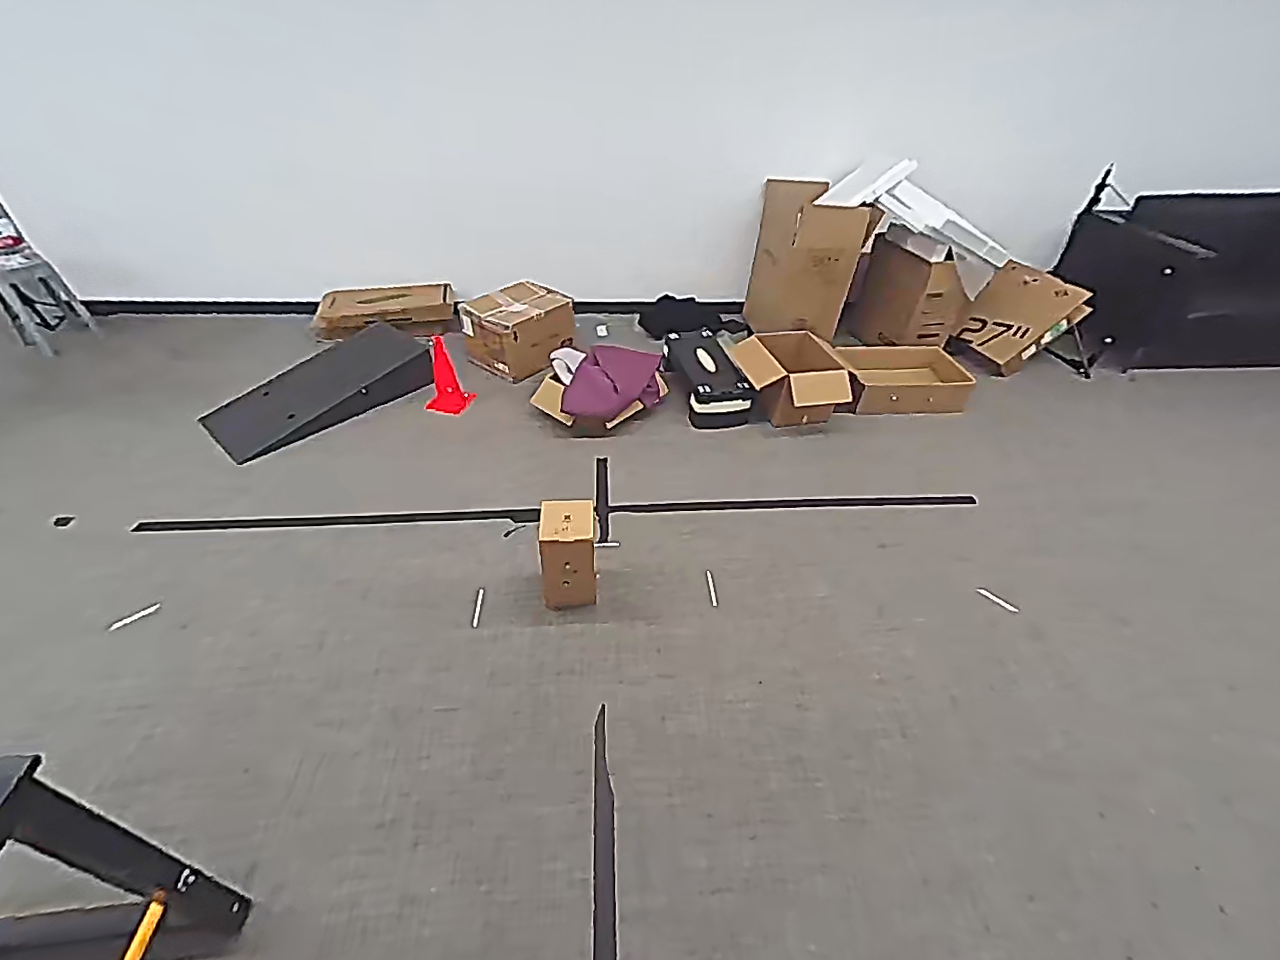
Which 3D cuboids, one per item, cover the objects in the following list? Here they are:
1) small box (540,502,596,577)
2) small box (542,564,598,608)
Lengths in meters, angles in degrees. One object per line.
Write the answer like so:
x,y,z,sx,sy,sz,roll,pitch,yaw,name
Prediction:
-0.225,0.190,1.723,0.168,0.176,0.179,-2,41,-4,small box
-0.236,0.316,1.829,0.179,0.176,0.168,-3,41,-8,small box
